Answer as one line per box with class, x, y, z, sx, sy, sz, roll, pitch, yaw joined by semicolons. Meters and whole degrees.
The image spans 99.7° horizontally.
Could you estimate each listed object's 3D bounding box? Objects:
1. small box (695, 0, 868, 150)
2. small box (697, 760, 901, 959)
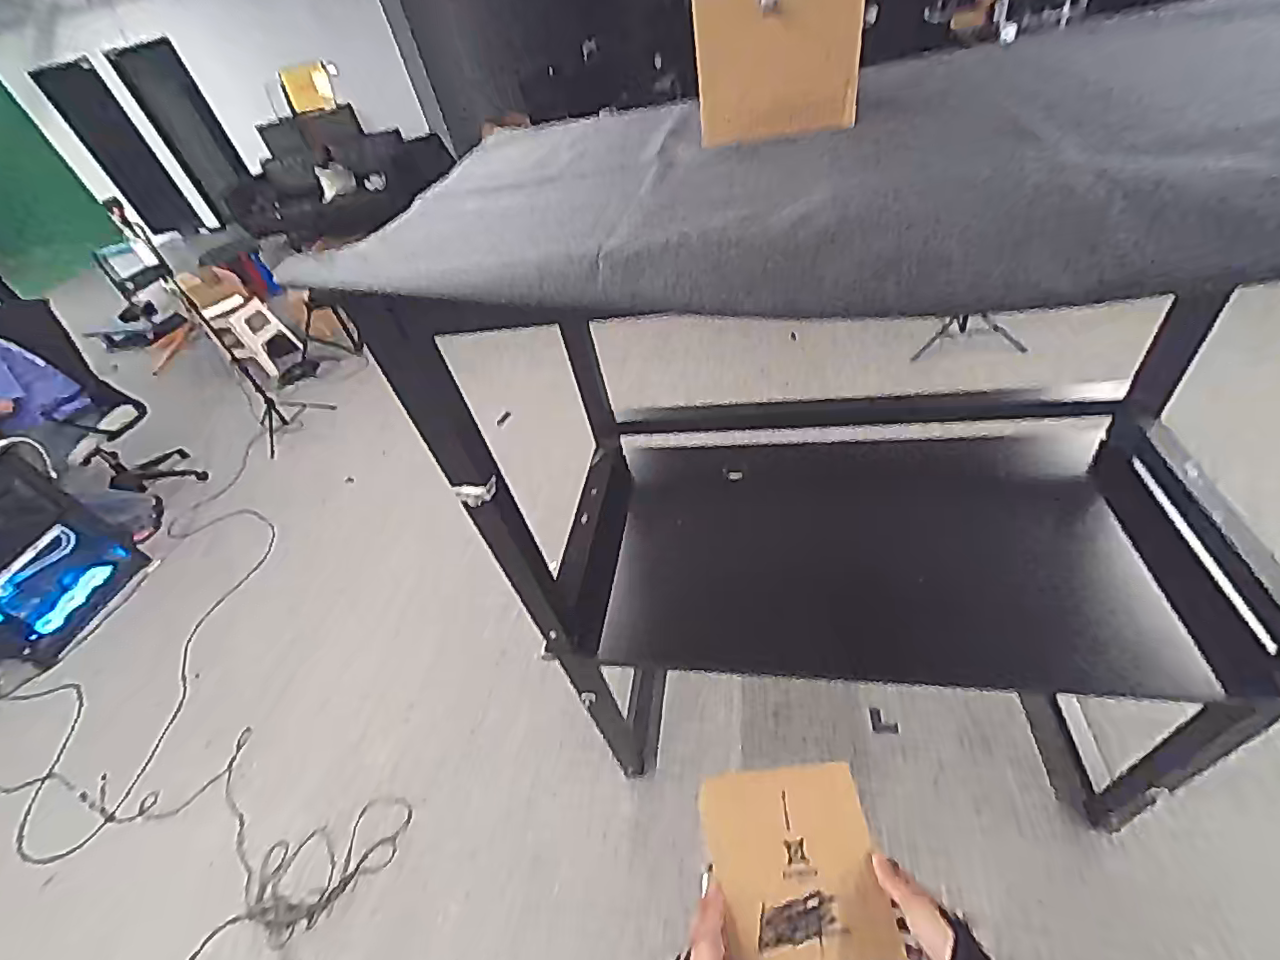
small box;0.170;-0.514;0.637;0.179;0.176;0.168;3;45;18
small box;0.160;0.439;0.613;0.168;0.176;0.179;-6;50;-2
